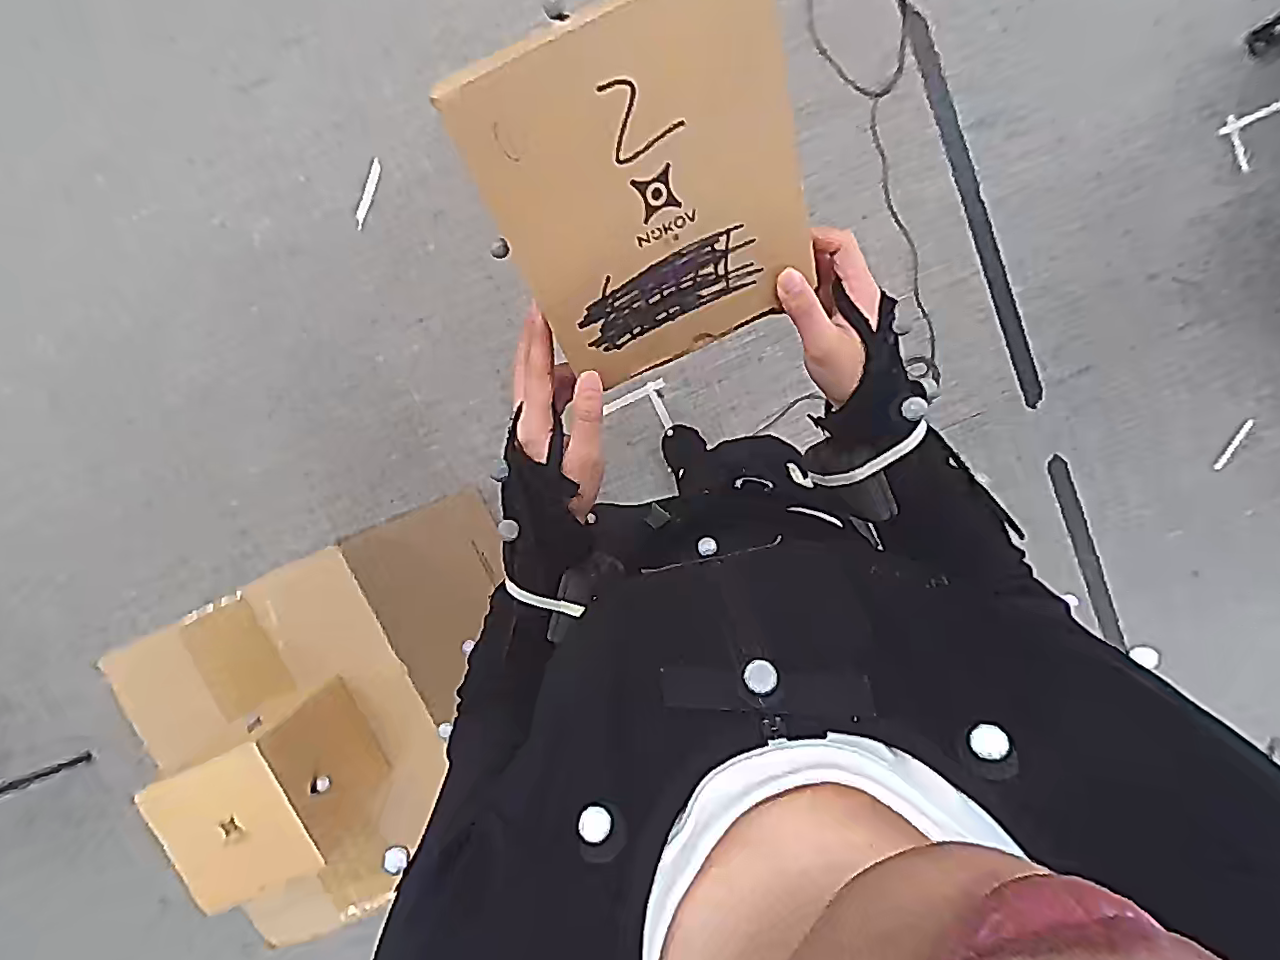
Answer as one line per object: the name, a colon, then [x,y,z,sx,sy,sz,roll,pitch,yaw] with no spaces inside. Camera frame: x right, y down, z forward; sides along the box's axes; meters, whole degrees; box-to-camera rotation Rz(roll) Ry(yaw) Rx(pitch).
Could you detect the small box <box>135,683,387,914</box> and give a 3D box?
small box: [-0.474,0.394,0.707,0.168,0.176,0.179,-25,97,3]
